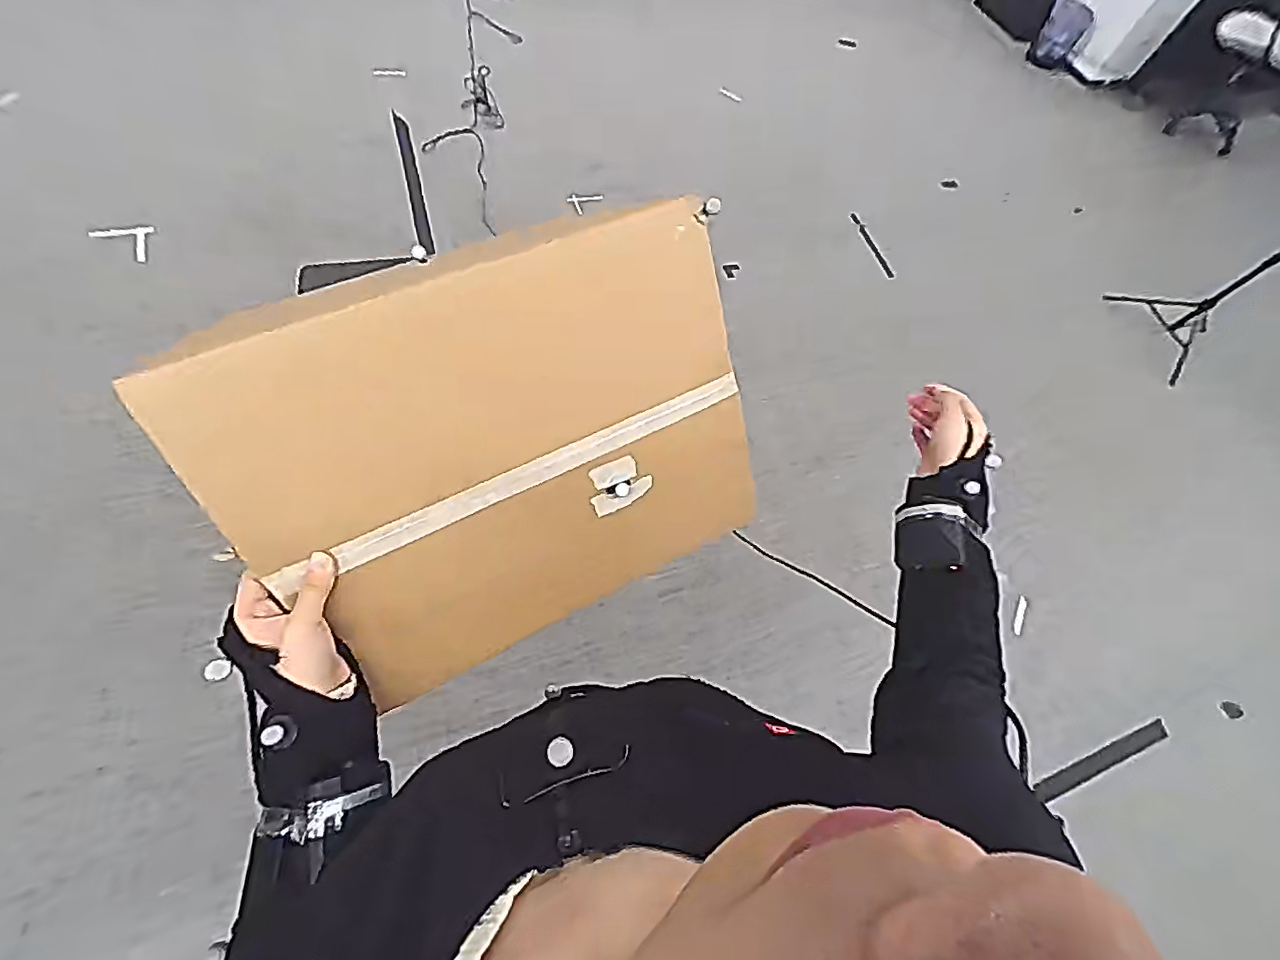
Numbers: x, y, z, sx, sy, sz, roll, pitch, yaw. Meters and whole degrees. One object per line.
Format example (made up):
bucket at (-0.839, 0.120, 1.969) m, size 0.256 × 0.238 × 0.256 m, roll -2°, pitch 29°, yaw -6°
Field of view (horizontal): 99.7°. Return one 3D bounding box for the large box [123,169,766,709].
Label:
large box at (-0.146, -0.071, 0.547) m, size 0.408 × 0.320 × 0.320 m, roll -26°, pitch 31°, yaw -16°
